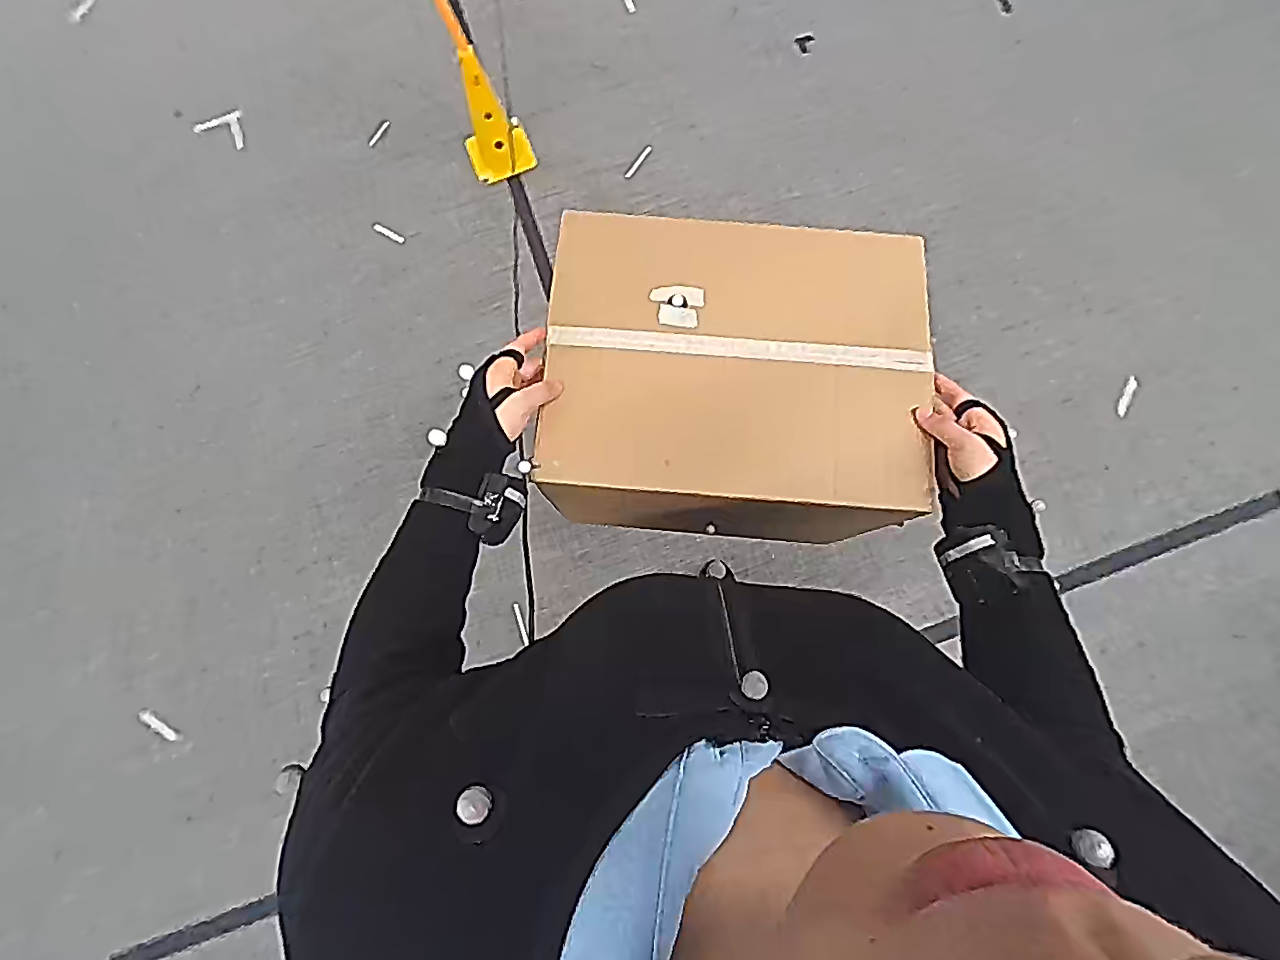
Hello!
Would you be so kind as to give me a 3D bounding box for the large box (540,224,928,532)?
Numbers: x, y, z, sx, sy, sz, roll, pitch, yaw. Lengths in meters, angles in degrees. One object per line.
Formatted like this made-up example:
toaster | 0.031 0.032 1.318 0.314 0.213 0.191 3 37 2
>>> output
large box | 0.104 -0.104 0.726 0.408 0.320 0.320 3 76 1
